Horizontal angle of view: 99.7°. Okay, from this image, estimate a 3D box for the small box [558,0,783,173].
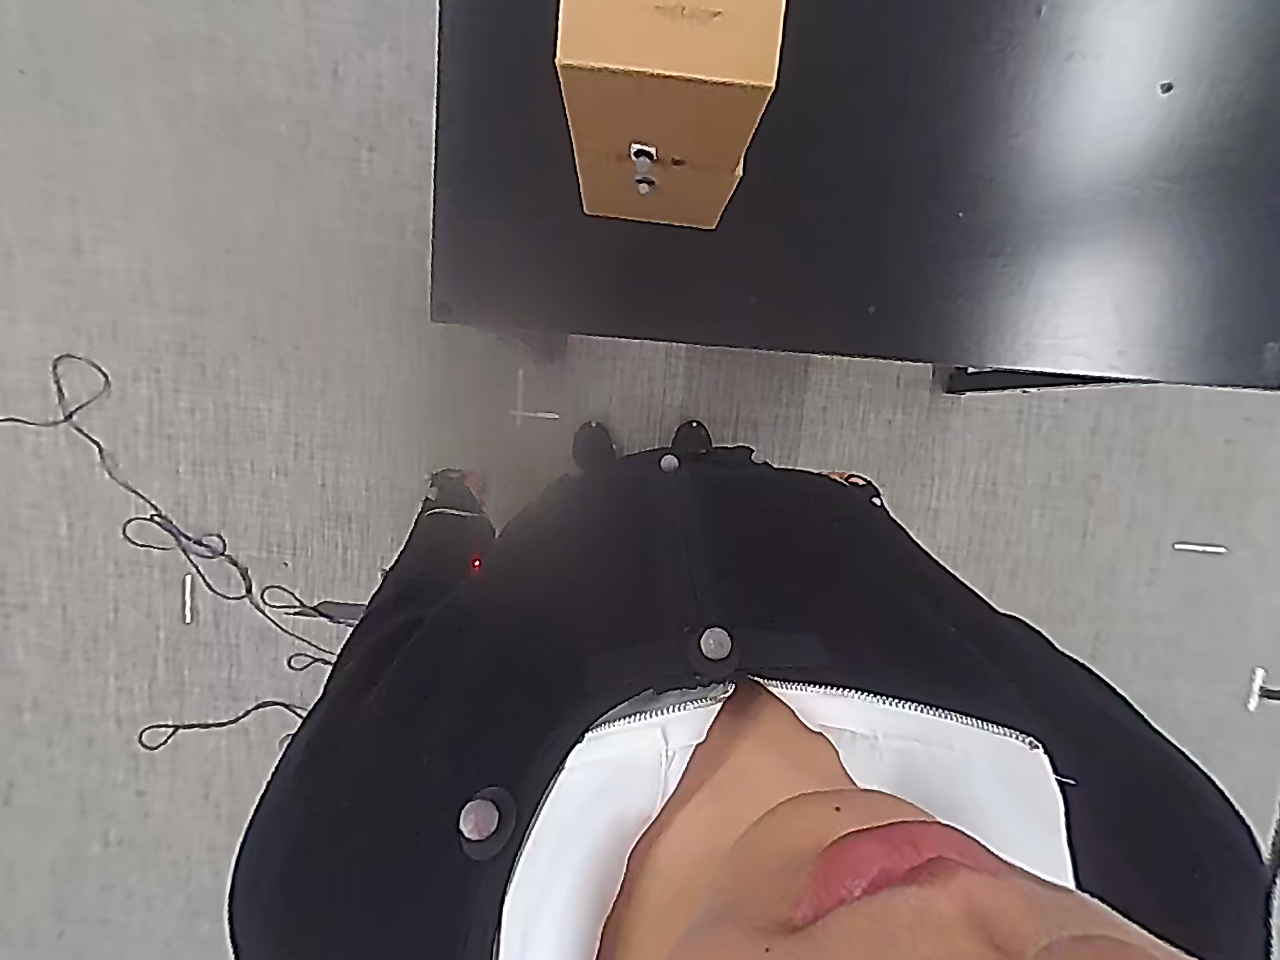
[{"bbox_3d":[0.026,-0.400,0.469,0.168,0.176,0.179,5,98,-1],"label":"small box"}]

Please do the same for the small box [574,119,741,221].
[{"bbox_3d":[0.023,-0.421,0.630,0.179,0.176,0.168,5,97,-3],"label":"small box"}]
